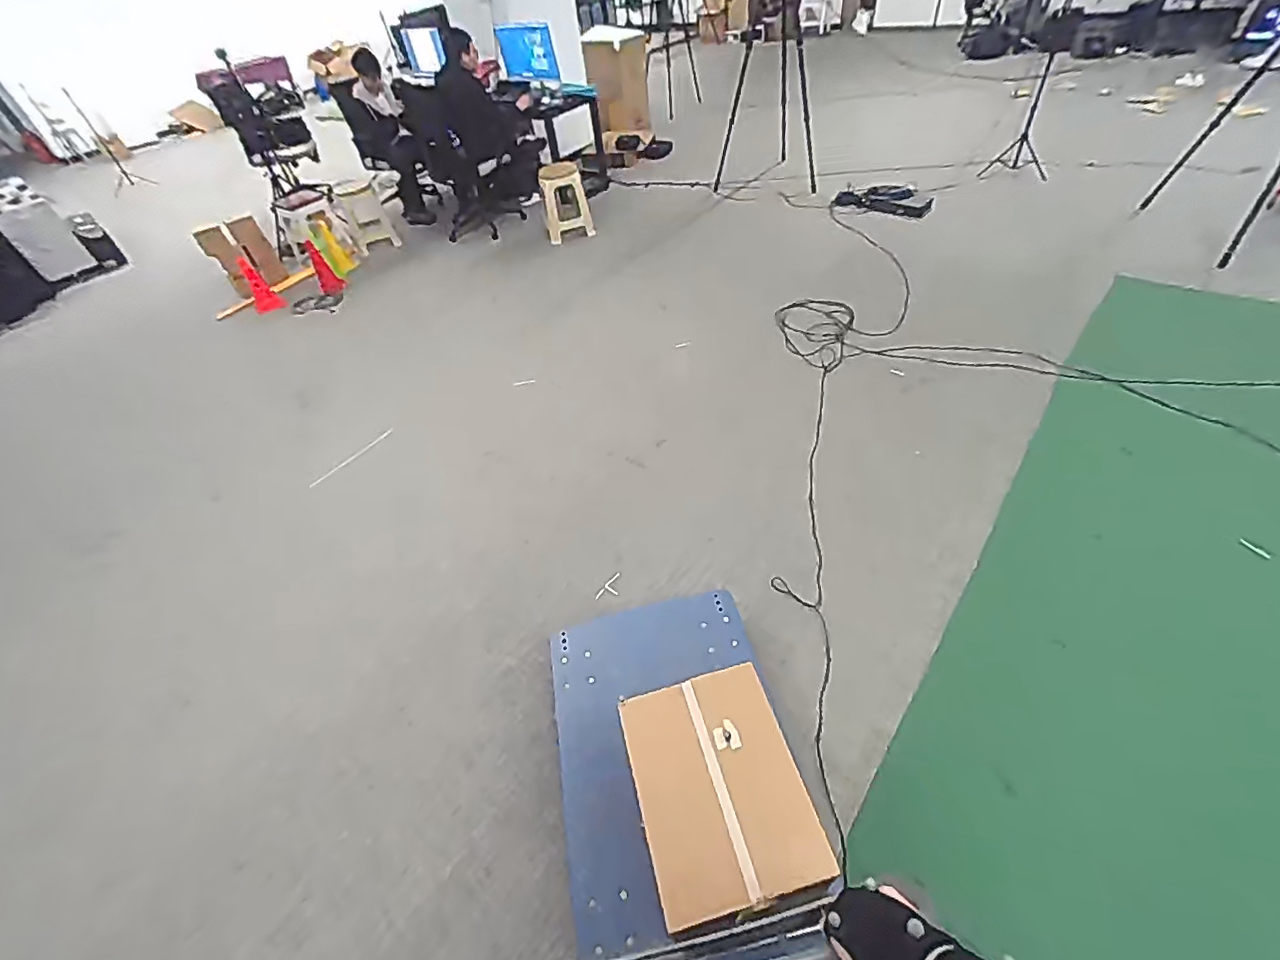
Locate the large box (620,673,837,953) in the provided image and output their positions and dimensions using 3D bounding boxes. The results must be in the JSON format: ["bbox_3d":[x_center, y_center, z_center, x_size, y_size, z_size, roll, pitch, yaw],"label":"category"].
[{"bbox_3d":[0.171,0.708,1.169,0.320,0.320,0.408,-14,45,-6],"label":"large box"}]
